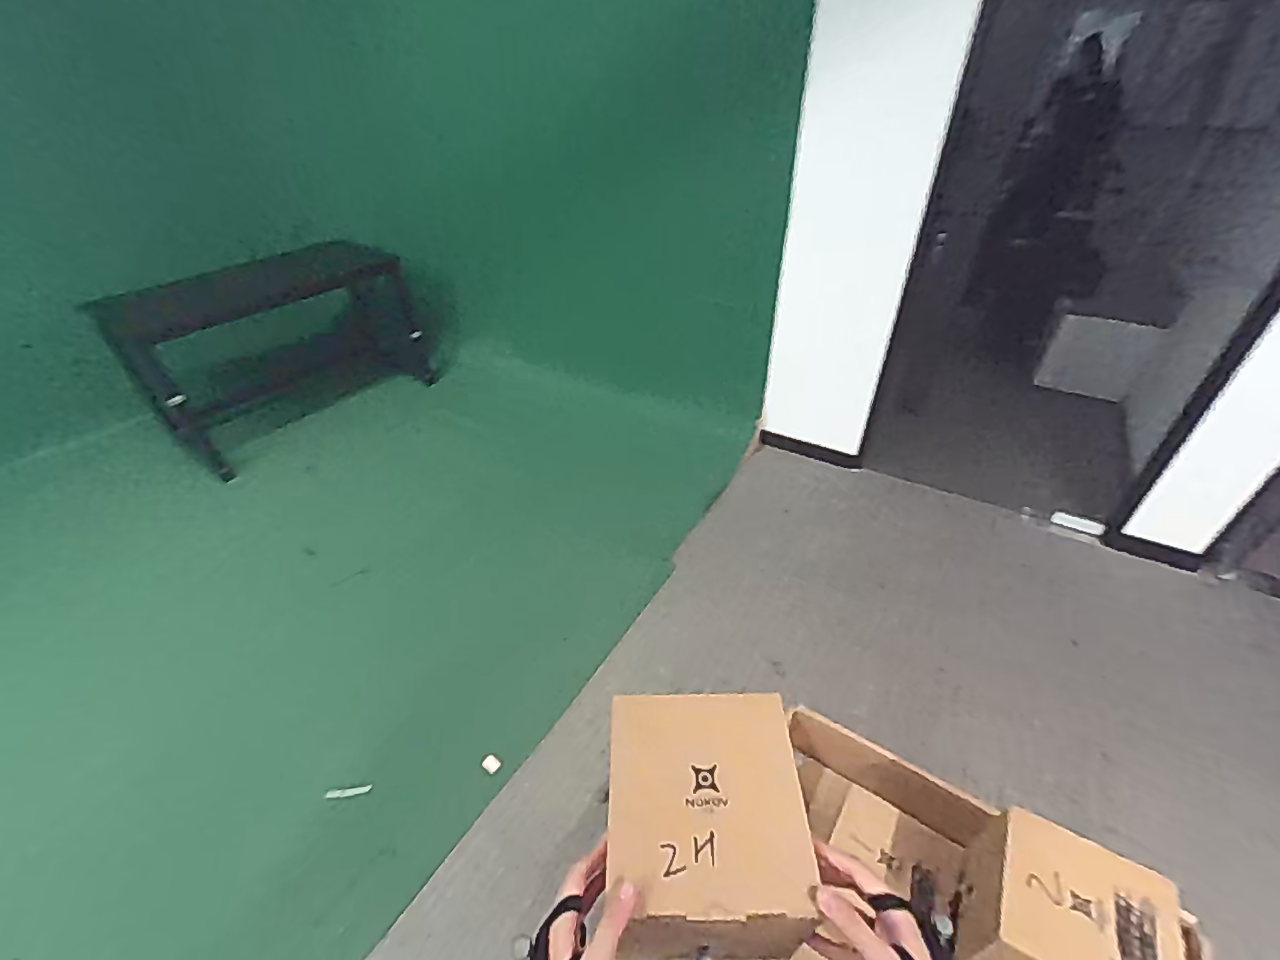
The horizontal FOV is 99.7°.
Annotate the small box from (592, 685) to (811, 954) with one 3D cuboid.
[{"bbox_3d":[0.045,0.318,0.512,0.168,0.176,0.179,-1,40,0],"label":"small box"}]
